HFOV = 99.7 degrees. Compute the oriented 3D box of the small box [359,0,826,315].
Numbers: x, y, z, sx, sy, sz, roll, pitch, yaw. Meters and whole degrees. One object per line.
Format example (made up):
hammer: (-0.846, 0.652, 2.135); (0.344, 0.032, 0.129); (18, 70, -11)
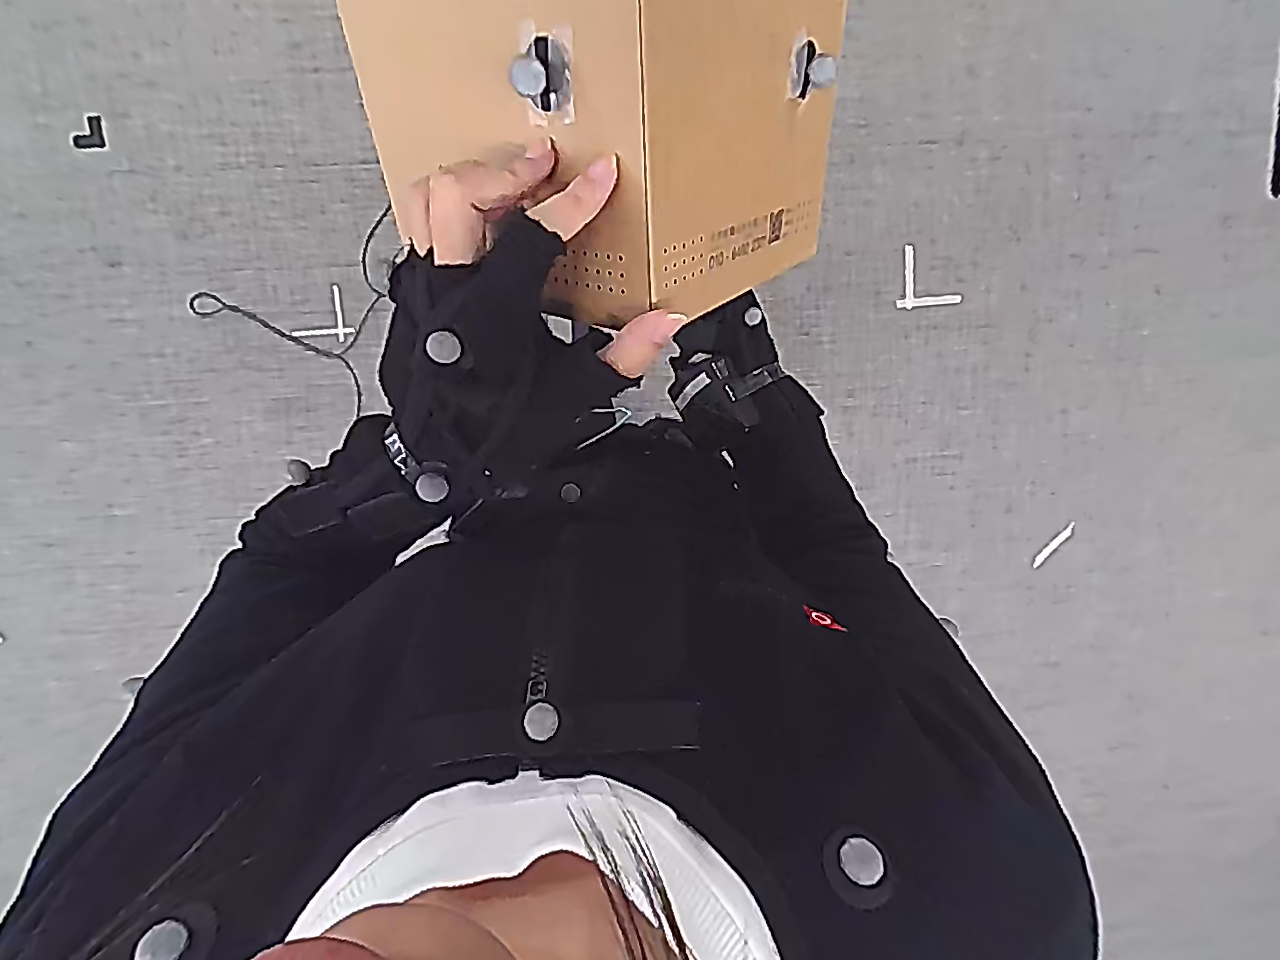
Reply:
small box: (-0.014, -0.198, 0.288); (0.179, 0.168, 0.176); (23, 132, 33)
